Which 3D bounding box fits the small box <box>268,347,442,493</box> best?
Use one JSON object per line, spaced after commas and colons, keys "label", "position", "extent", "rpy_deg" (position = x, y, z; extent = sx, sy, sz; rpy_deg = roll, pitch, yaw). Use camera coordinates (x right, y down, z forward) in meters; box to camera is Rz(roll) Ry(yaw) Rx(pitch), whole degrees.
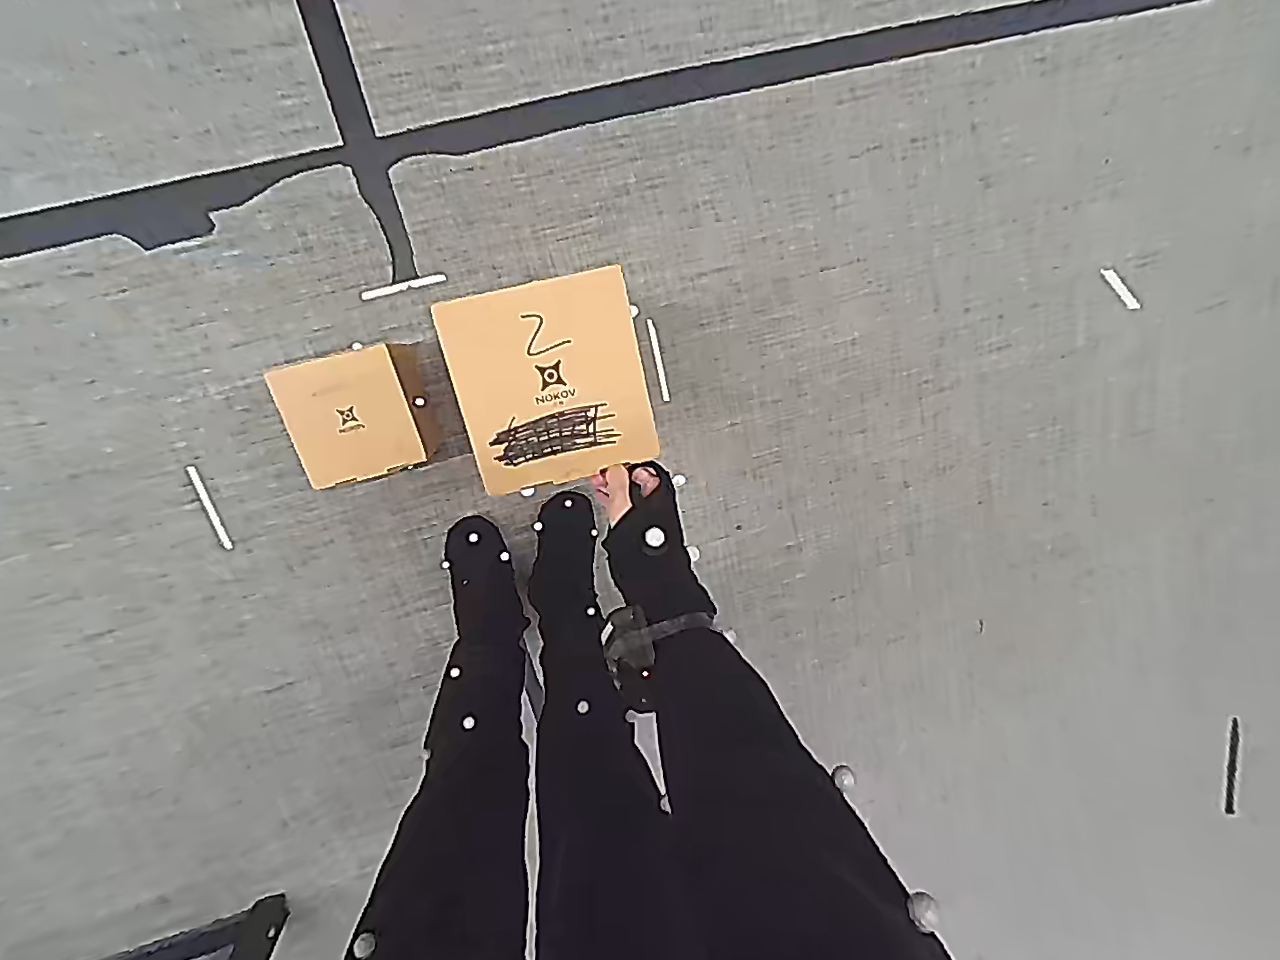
{"label": "small box", "position": [-0.419, -0.102, 0.834], "extent": [0.168, 0.176, 0.179], "rpy_deg": [-17, 106, -9]}

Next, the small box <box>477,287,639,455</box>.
{"label": "small box", "position": [-0.107, -0.147, 0.714], "extent": [0.168, 0.176, 0.179], "rpy_deg": [-13, 105, -9]}
